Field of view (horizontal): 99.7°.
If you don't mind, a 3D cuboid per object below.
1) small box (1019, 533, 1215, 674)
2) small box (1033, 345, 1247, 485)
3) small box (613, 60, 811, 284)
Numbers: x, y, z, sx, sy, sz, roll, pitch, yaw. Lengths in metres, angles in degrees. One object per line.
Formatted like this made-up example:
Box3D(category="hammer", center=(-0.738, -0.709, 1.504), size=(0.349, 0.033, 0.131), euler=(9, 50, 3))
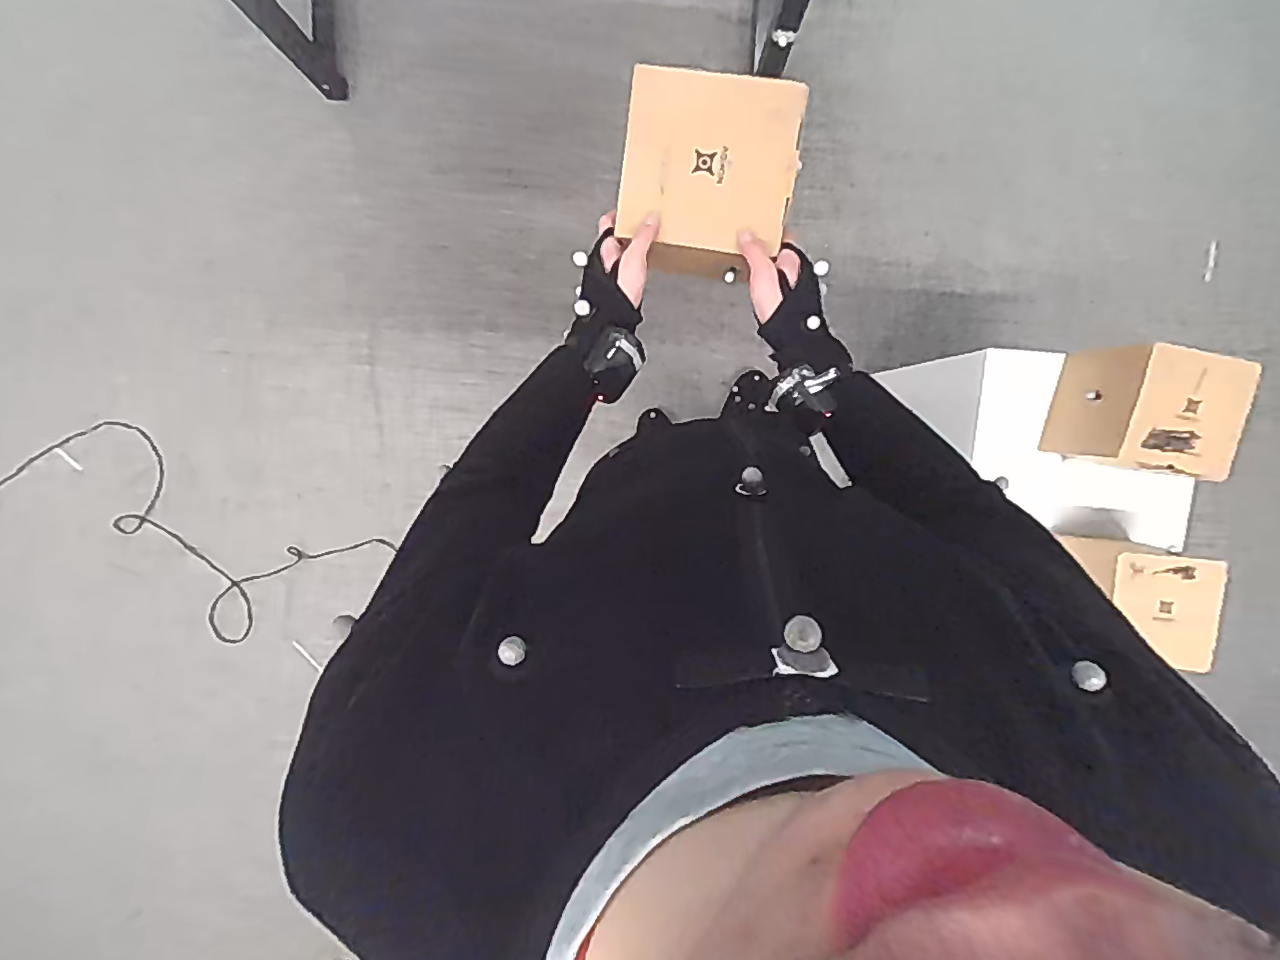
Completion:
Box3D(category="small box", center=(0.775, 0.197, 0.899), size=(0.168, 0.176, 0.179), euler=(6, 95, -2))
Box3D(category="small box", center=(0.784, -0.102, 0.870), size=(0.168, 0.176, 0.179), euler=(12, 95, -3))
Box3D(category="small box", center=(0.073, -0.328, 0.612), size=(0.179, 0.176, 0.168), euler=(8, 99, 3))
